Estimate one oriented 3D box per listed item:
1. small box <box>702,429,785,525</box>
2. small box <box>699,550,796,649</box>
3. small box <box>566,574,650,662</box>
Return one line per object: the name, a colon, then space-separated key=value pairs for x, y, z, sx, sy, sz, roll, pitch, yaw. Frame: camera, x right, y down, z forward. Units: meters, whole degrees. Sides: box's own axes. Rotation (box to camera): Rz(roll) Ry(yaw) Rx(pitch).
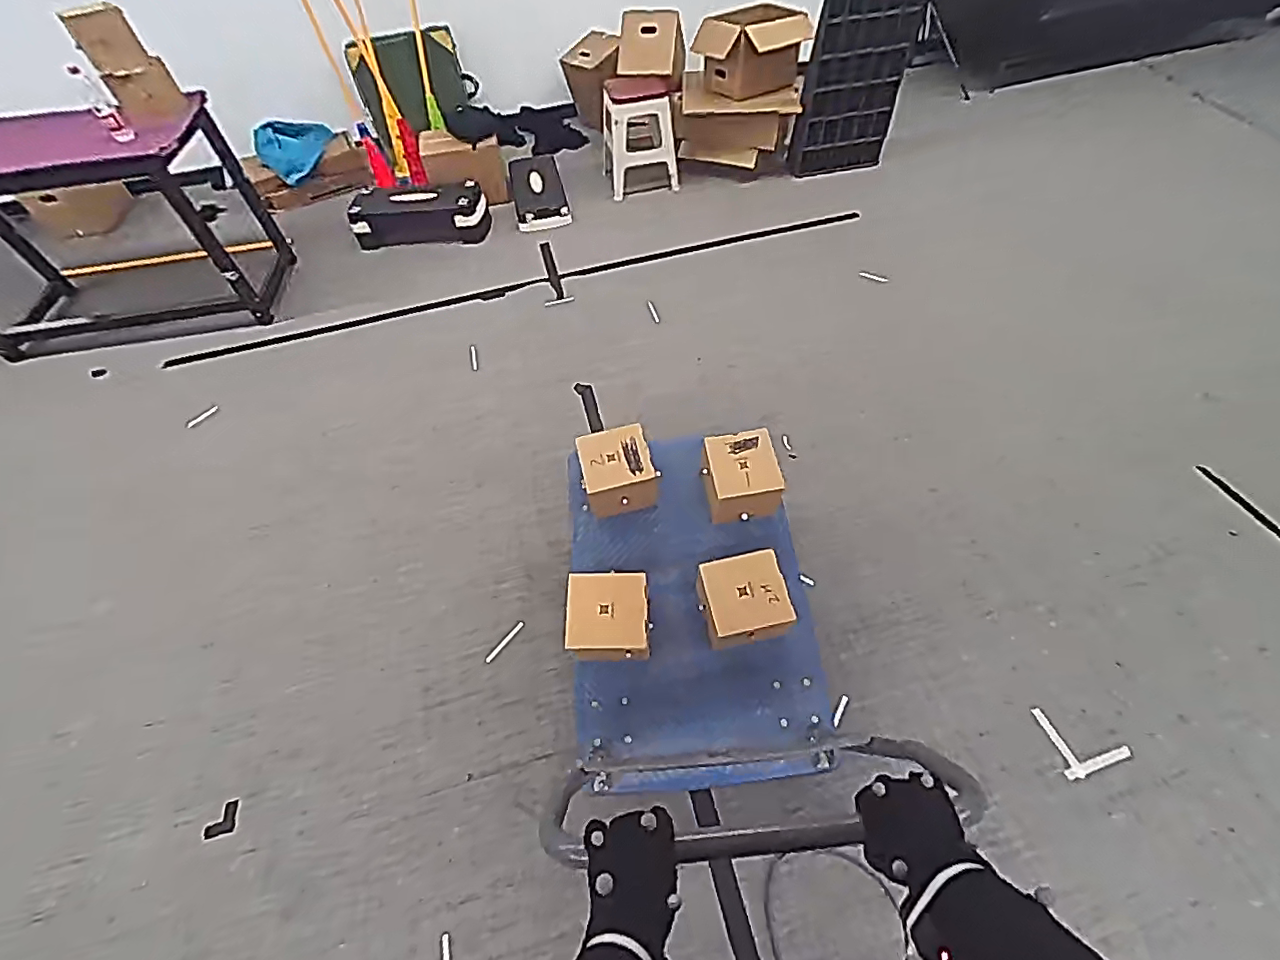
small box: x=0.257 y=-0.005 z=1.392 sx=0.168 sy=0.176 sz=0.179 roll=-10 pitch=64 yaw=-1
small box: x=0.238 y=0.281 z=1.247 sx=0.179 sy=0.176 sz=0.168 roll=-12 pitch=63 yaw=-3
small box: x=-0.067 y=0.323 z=1.245 sx=0.179 sy=0.176 sz=0.168 roll=-2 pitch=63 yaw=1
